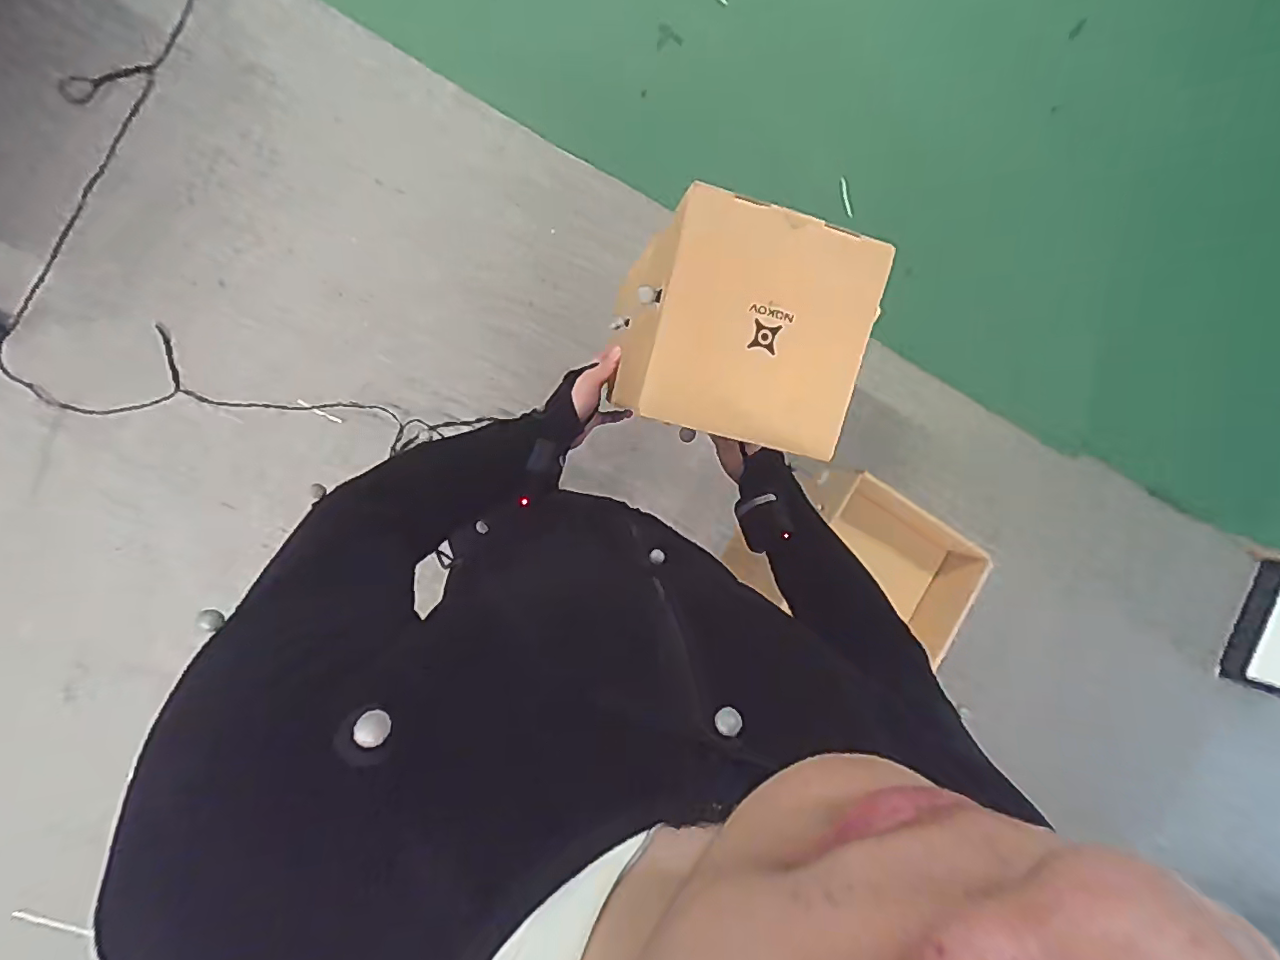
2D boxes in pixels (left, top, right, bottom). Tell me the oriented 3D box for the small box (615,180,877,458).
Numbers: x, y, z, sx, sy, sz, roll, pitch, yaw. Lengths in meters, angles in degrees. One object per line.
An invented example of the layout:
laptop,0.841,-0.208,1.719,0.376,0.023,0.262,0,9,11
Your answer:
small box,0.076,-0.132,0.494,0.168,0.176,0.179,13,98,-9

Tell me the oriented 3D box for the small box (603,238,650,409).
small box,0.052,-0.162,0.652,0.168,0.176,0.179,12,99,-9
